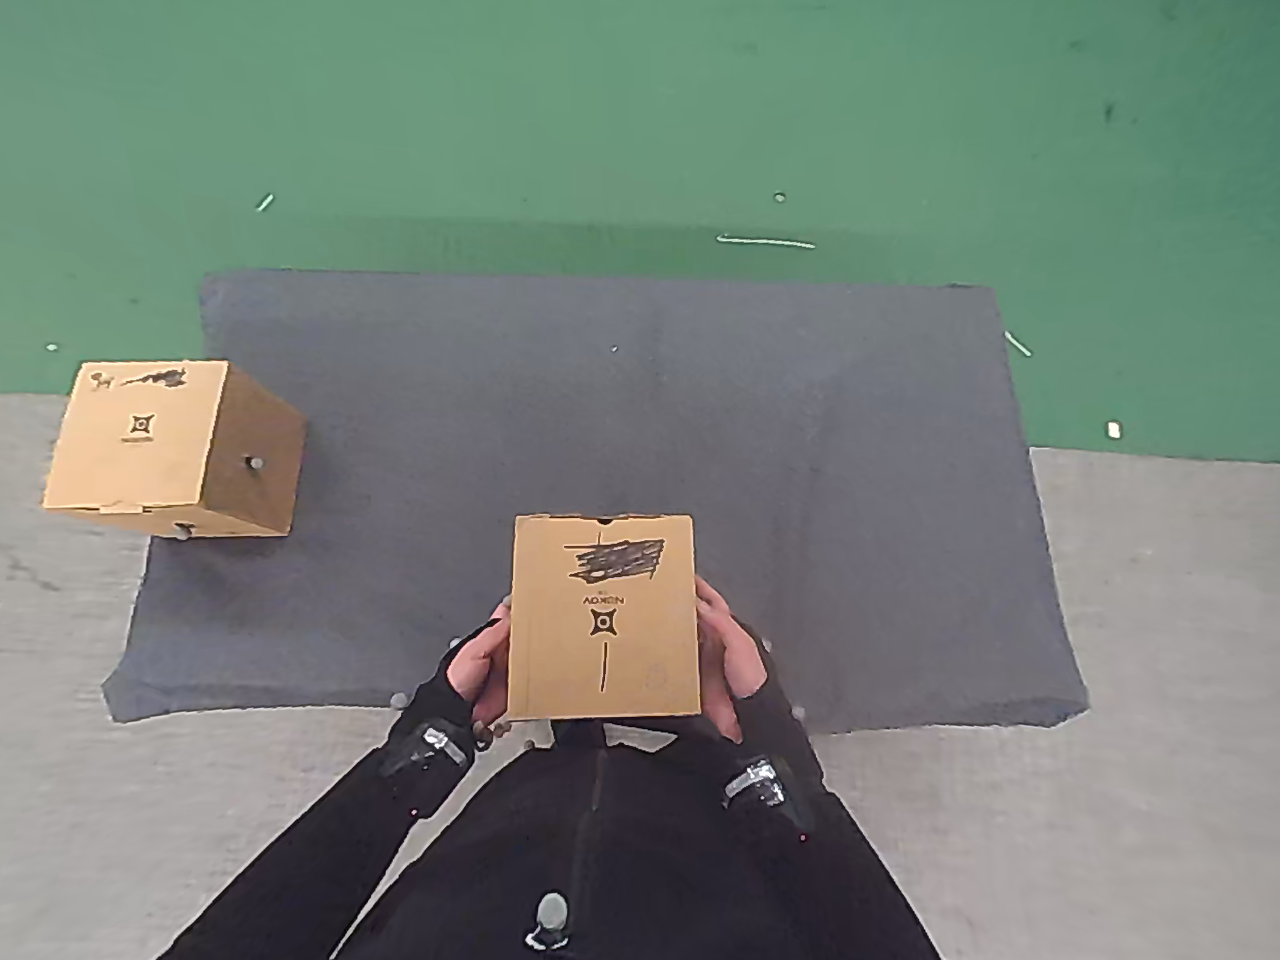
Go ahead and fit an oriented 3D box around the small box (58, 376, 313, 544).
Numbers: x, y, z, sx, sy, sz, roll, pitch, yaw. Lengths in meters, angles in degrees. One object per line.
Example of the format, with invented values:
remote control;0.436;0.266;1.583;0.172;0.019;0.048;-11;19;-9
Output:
small box;-0.544;-0.015;0.678;0.168;0.176;0.179;0;74;-2
